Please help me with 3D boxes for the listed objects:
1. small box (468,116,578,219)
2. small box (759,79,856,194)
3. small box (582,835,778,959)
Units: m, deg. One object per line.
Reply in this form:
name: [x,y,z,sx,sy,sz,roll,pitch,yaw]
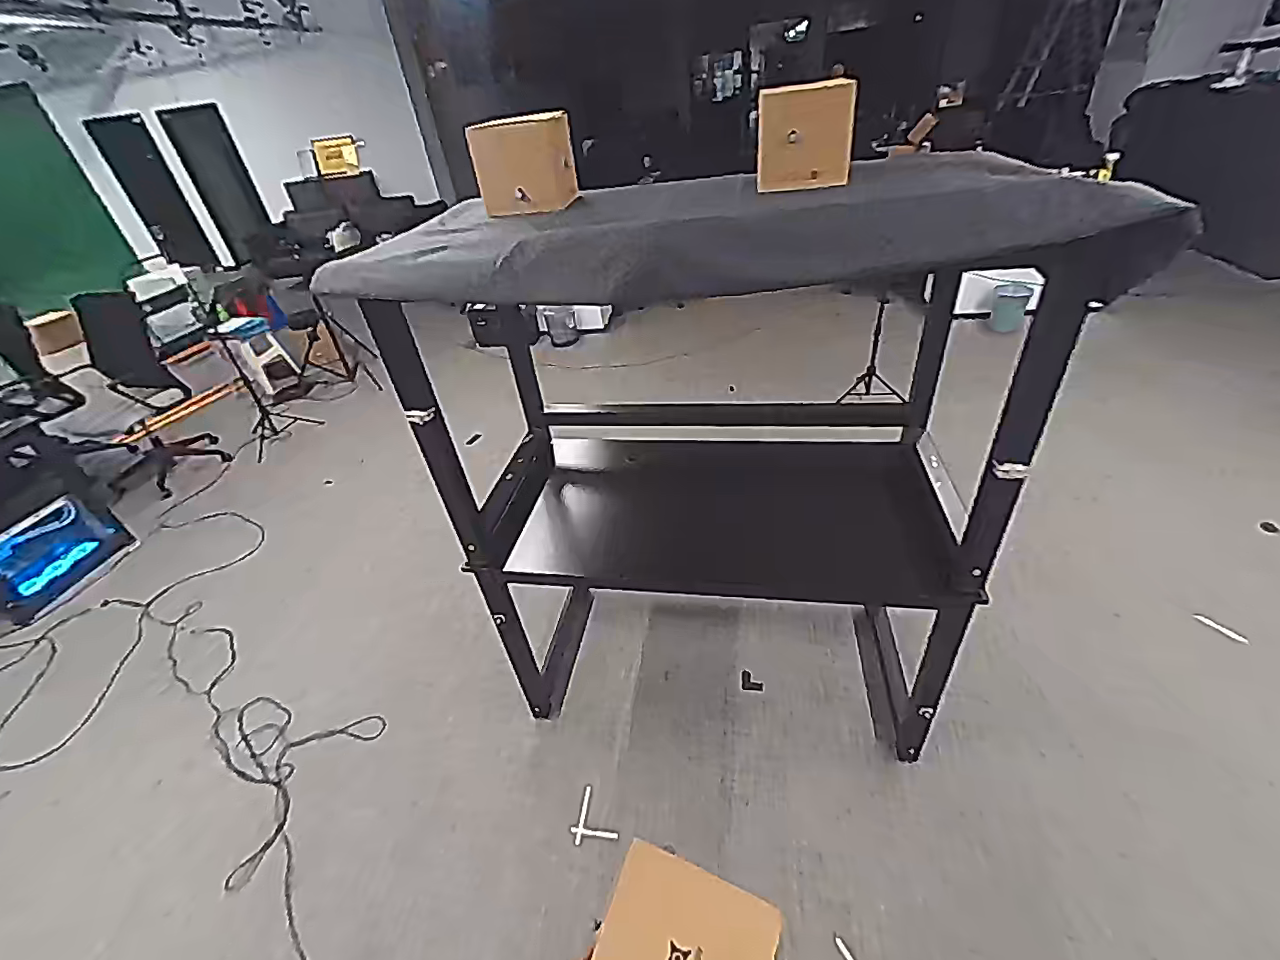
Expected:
small box: [-0.243,-0.681,1.180,0.179,0.176,0.168,0,37,9]
small box: [0.325,-0.678,1.075,0.168,0.176,0.179,0,37,11]
small box: [0.027,0.532,0.586,0.179,0.176,0.168,21,44,10]
